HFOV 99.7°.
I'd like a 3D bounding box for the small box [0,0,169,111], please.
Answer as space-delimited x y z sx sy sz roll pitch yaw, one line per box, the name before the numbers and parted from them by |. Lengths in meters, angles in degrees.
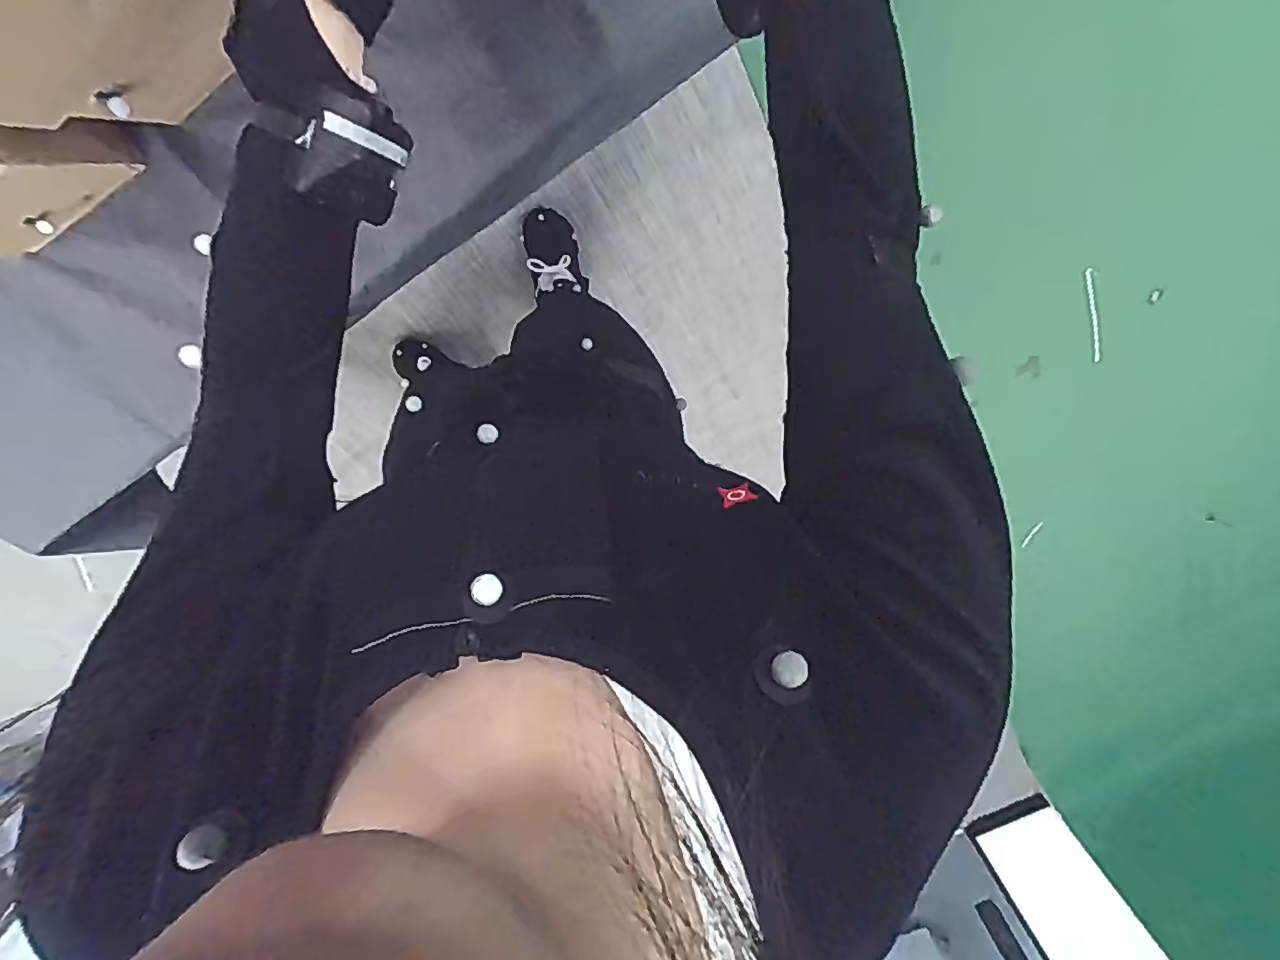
small box | -0.377 -0.317 0.261 0.179 0.176 0.168 -33 119 12
